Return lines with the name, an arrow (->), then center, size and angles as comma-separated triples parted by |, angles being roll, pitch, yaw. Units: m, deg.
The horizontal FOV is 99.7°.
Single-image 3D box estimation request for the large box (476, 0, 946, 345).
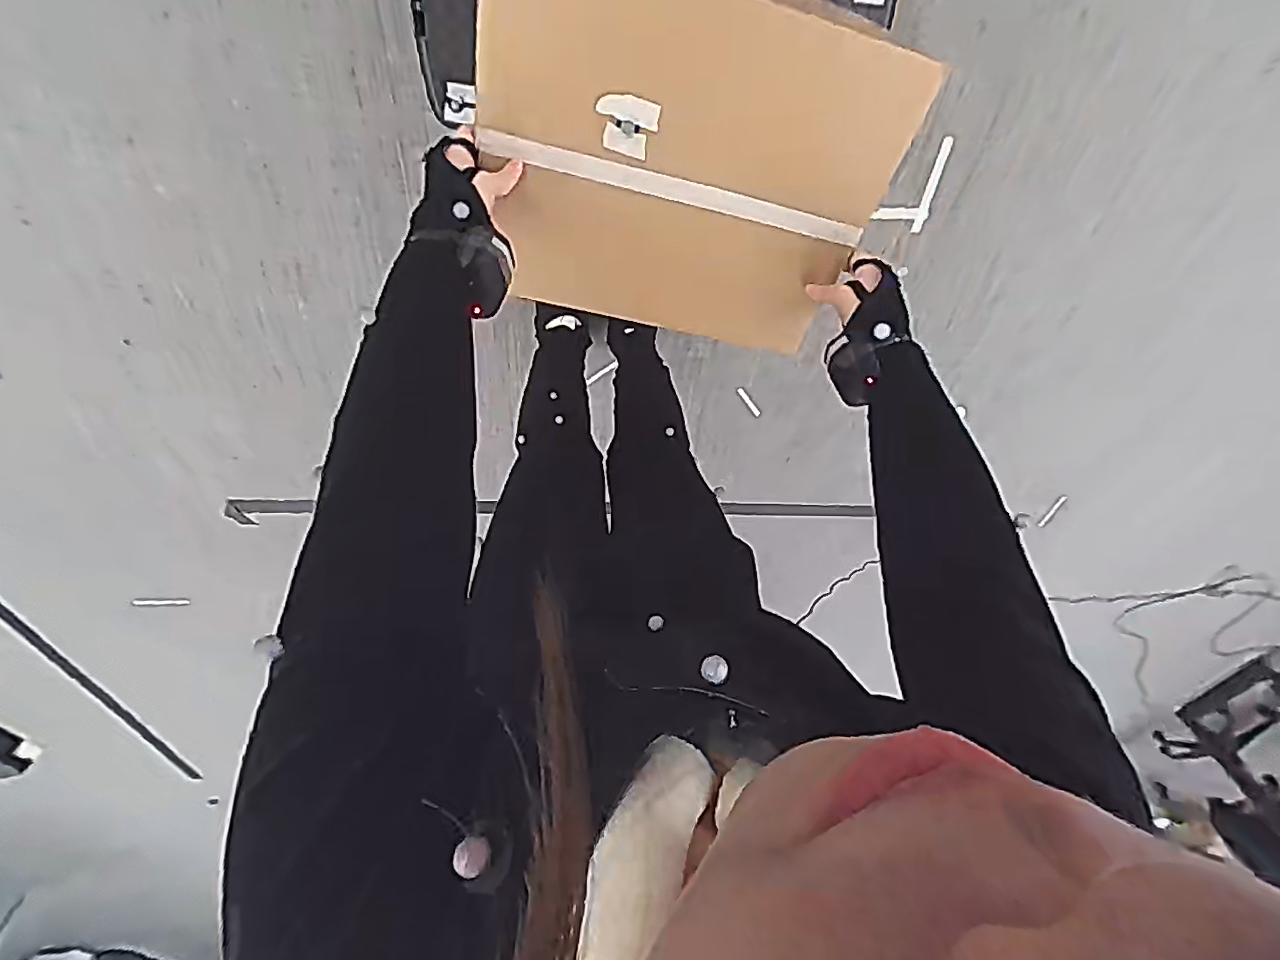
large box -> 0.042, -0.407, 0.640 | 0.408, 0.320, 0.320 | 9, 136, -10
